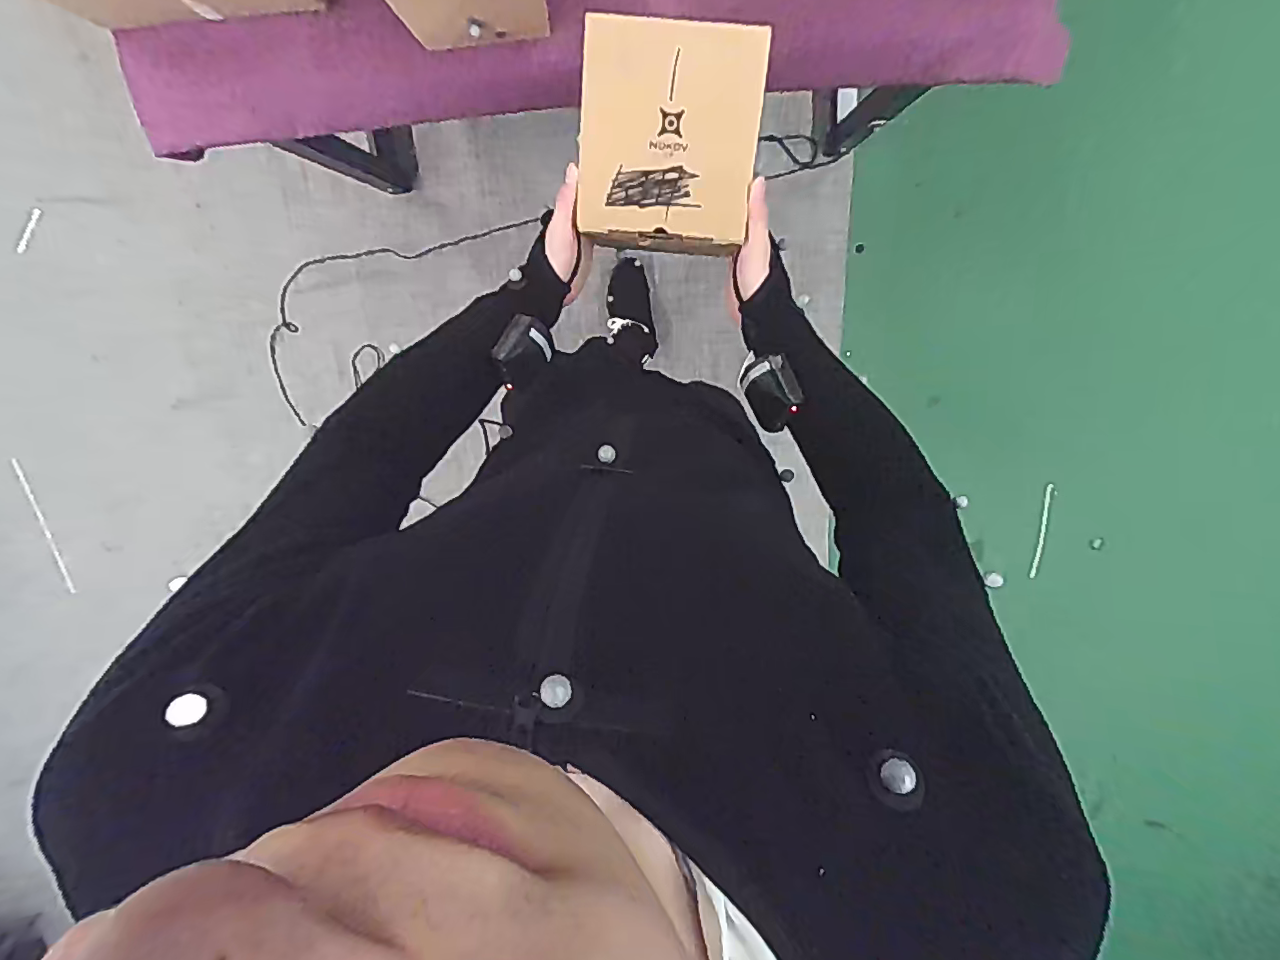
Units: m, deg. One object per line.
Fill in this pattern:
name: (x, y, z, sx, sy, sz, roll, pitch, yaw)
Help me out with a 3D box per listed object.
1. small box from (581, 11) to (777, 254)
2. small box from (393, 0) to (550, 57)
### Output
small box: (0.035, -0.341, 0.567, 0.168, 0.176, 0.179, 5, 107, 1)
small box: (-0.204, -0.616, 0.598, 0.168, 0.176, 0.179, -5, 107, 4)
